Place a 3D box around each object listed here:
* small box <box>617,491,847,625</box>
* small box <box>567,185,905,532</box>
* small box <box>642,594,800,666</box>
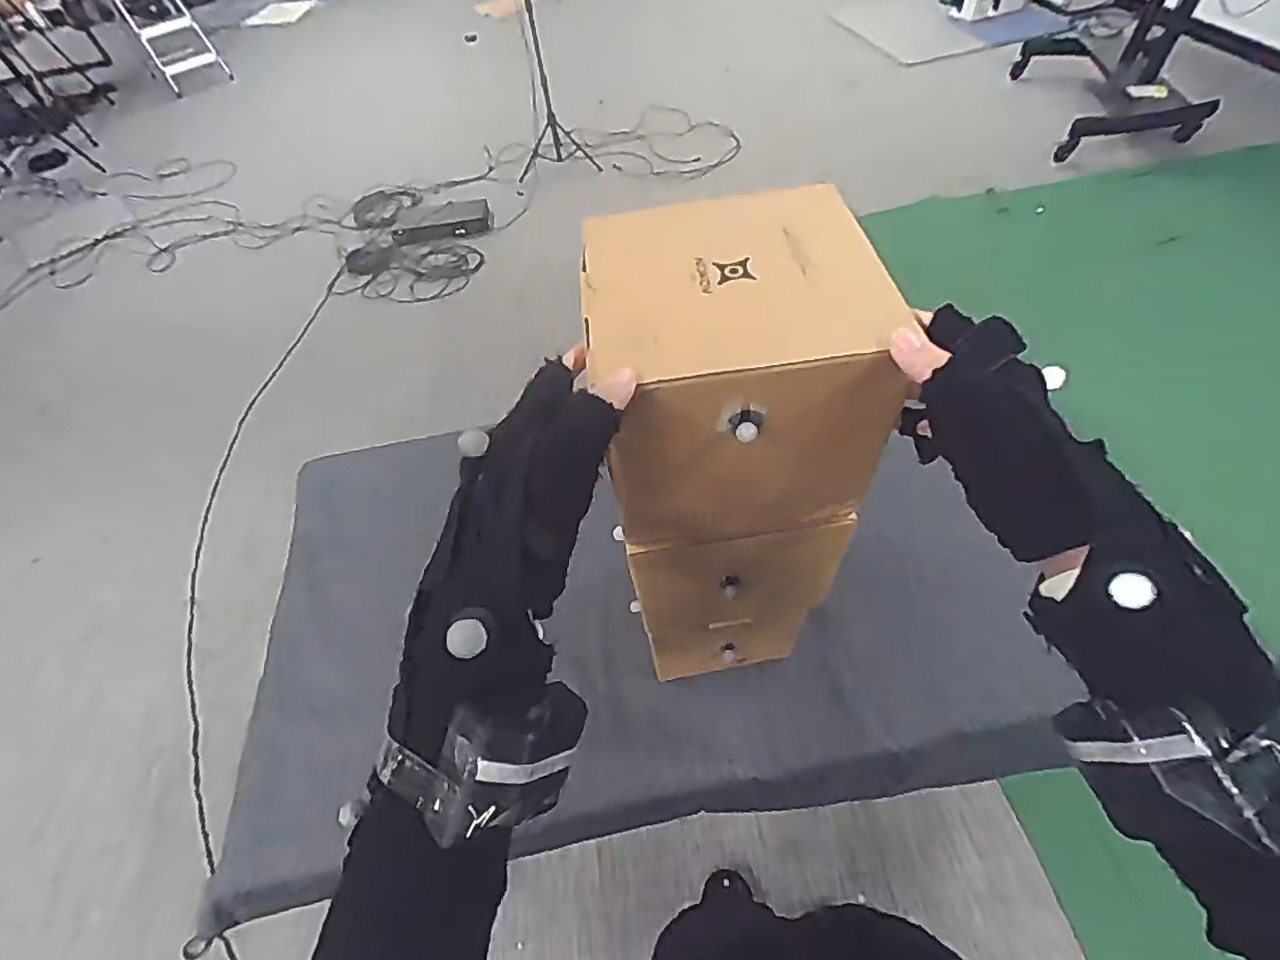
[{"bbox_3d":[0.068,0.022,0.515,0.179,0.176,0.168,-10,54,1],"label":"small box"},{"bbox_3d":[0.052,-0.076,0.388,0.179,0.176,0.168,-8,55,1],"label":"small box"},{"bbox_3d":[0.079,0.111,0.653,0.168,0.176,0.179,-12,55,-1],"label":"small box"}]
